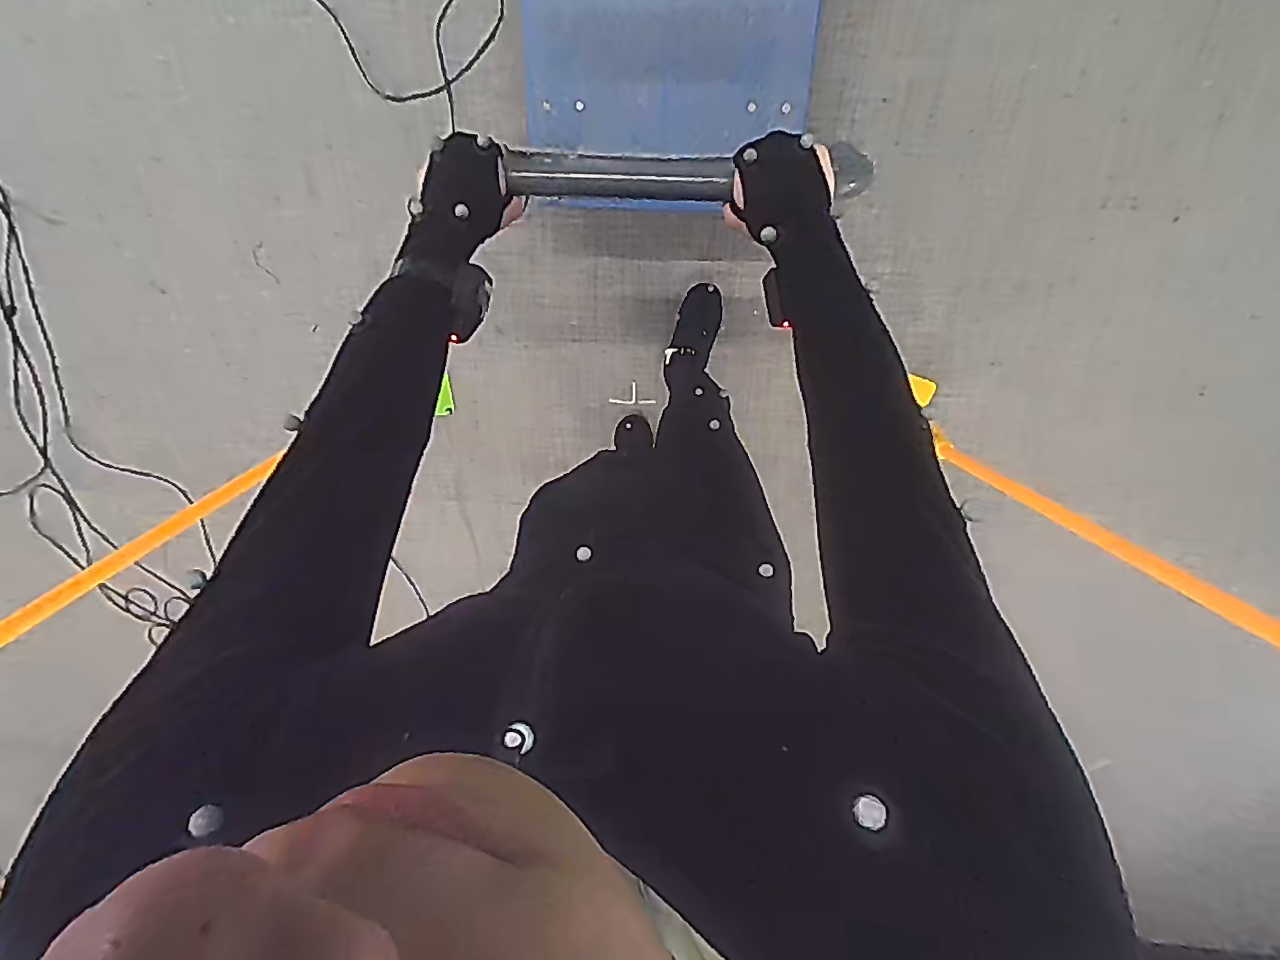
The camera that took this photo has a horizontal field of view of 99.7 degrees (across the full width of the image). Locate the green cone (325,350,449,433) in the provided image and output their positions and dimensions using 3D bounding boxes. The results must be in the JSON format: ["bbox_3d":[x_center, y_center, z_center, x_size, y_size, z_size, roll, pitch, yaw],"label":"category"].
[{"bbox_3d":[-0.671,-0.200,1.384,0.202,0.368,0.200,-1,113,7],"label":"green cone"}]
